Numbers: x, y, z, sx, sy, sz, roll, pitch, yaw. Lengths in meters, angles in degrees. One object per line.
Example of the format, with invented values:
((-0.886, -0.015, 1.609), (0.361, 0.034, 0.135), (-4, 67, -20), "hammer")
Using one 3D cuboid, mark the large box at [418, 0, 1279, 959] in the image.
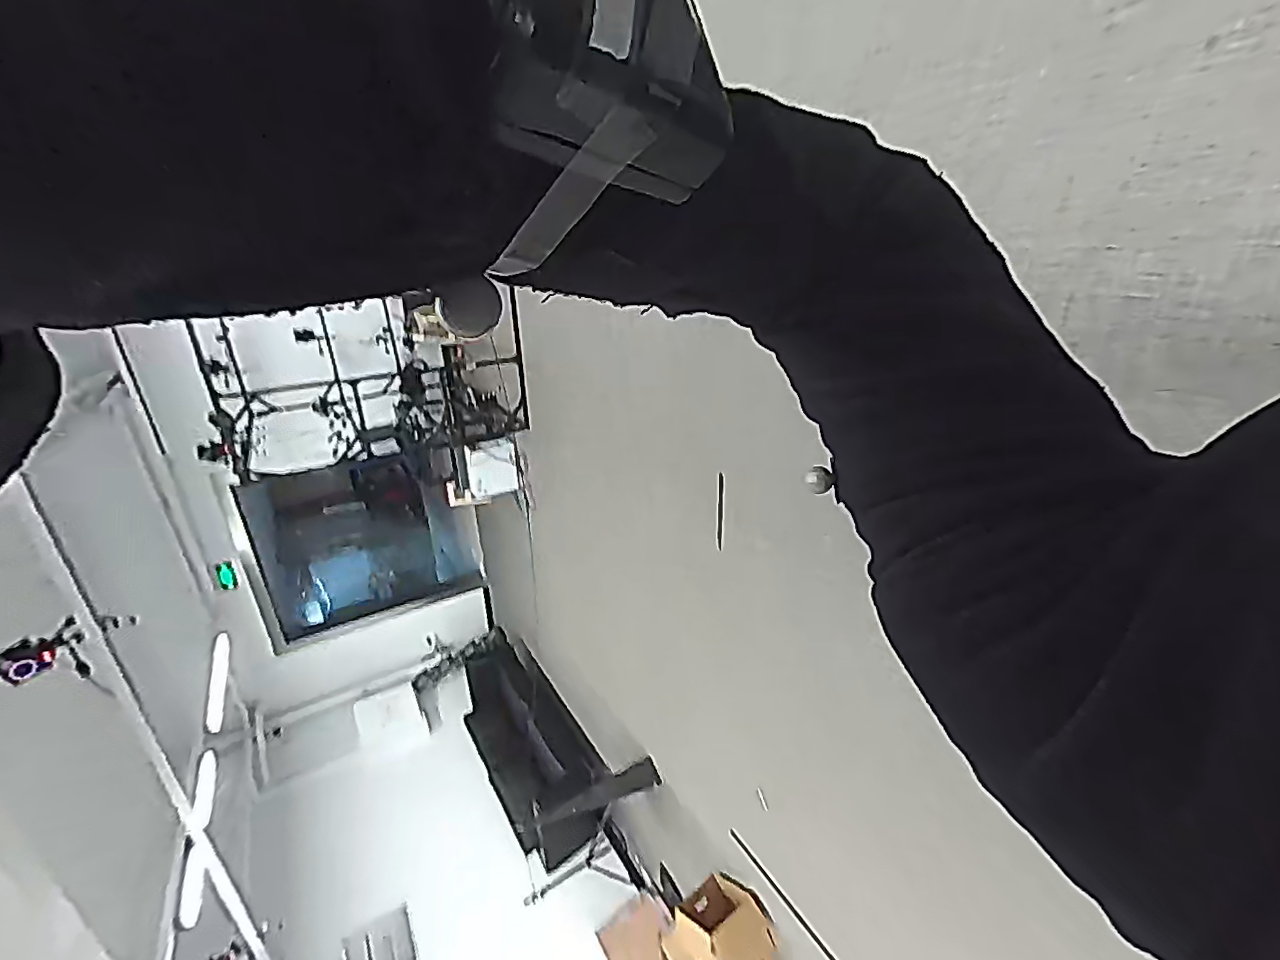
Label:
((0.165, -0.014, 0.149), (0.408, 0.320, 0.320), (23, -86, 57), "large box")
